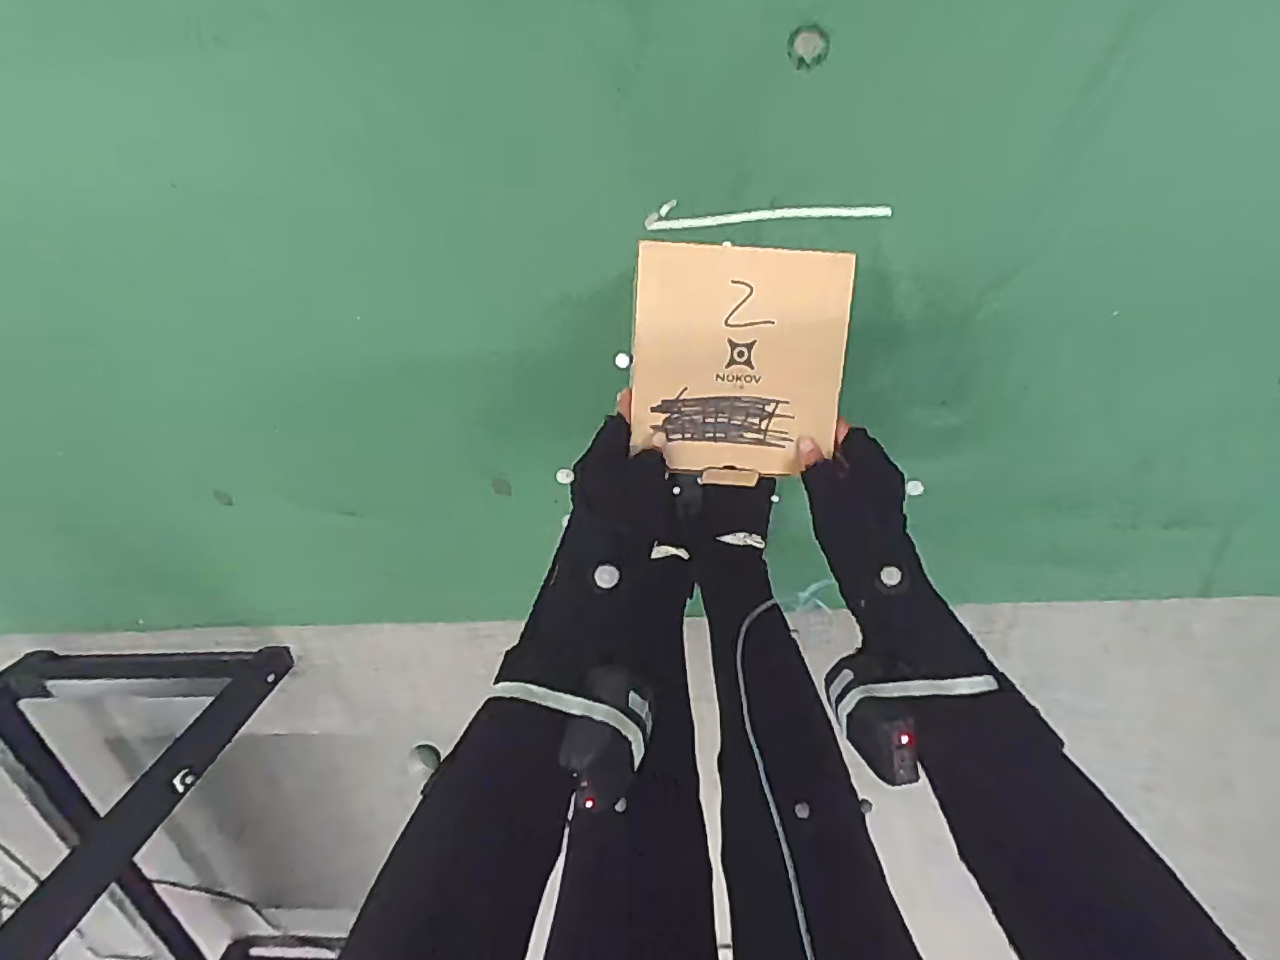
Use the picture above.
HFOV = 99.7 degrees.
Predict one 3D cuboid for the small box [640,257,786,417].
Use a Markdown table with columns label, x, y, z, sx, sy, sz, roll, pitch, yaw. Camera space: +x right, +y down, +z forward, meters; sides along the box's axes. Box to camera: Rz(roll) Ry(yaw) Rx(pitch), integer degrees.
| label | x | y | z | sx | sy | sz | roll | pitch | yaw |
| --- | --- | --- | --- | --- | --- | --- | --- | --- | --- |
| small box | 0.088 | -0.192 | 0.704 | 0.168 | 0.176 | 0.179 | -2 | 115 | 5 |
